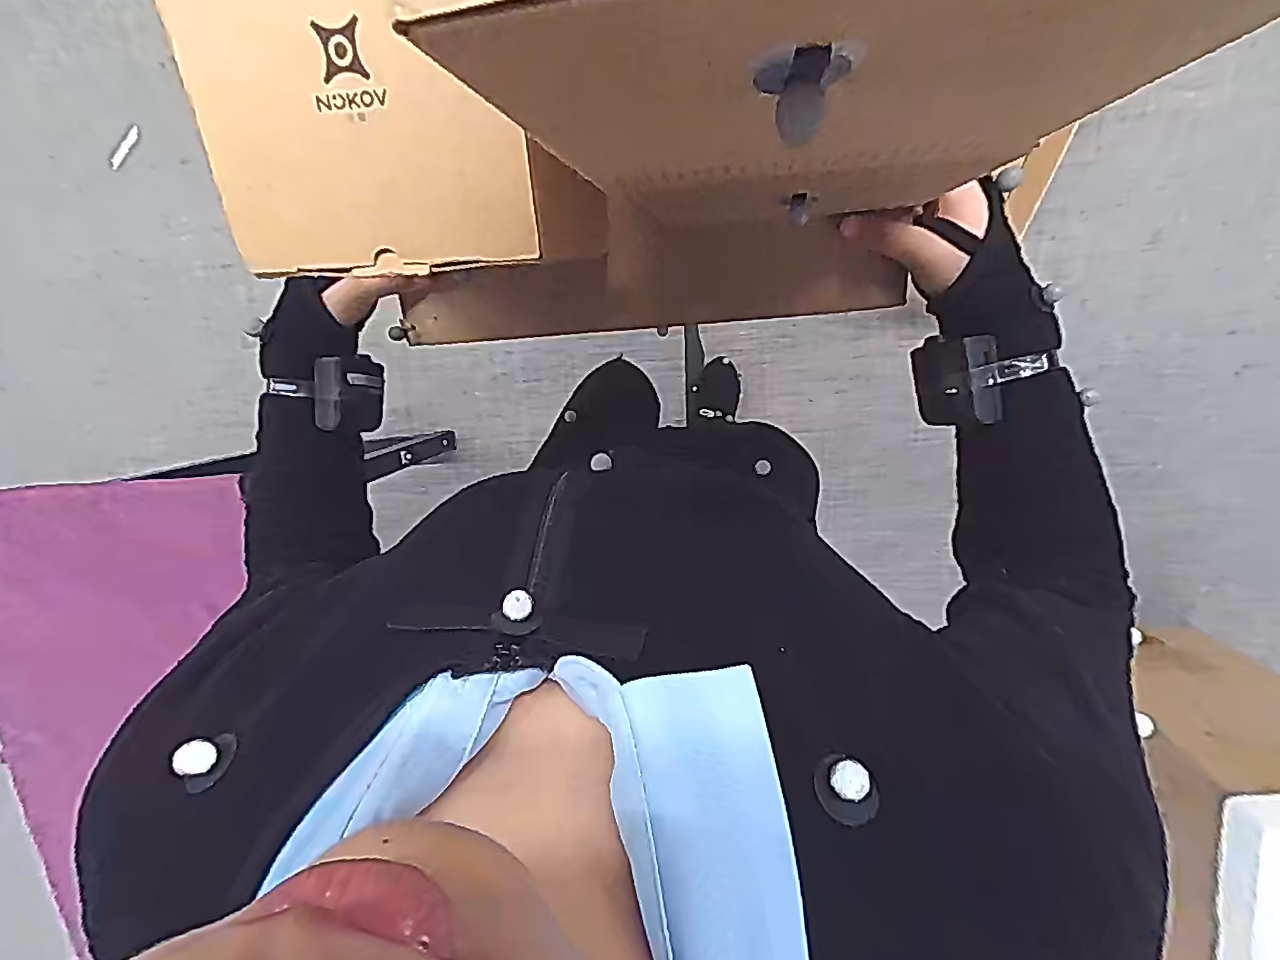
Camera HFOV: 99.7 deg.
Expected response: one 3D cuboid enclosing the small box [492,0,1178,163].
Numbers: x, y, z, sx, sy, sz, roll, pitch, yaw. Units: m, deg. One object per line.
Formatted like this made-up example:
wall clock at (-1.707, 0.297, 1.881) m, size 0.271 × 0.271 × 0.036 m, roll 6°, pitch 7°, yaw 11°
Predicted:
small box at (0.050, -0.188, 0.125) m, size 0.179 × 0.176 × 0.168 m, roll 0°, pitch 109°, yaw 10°
